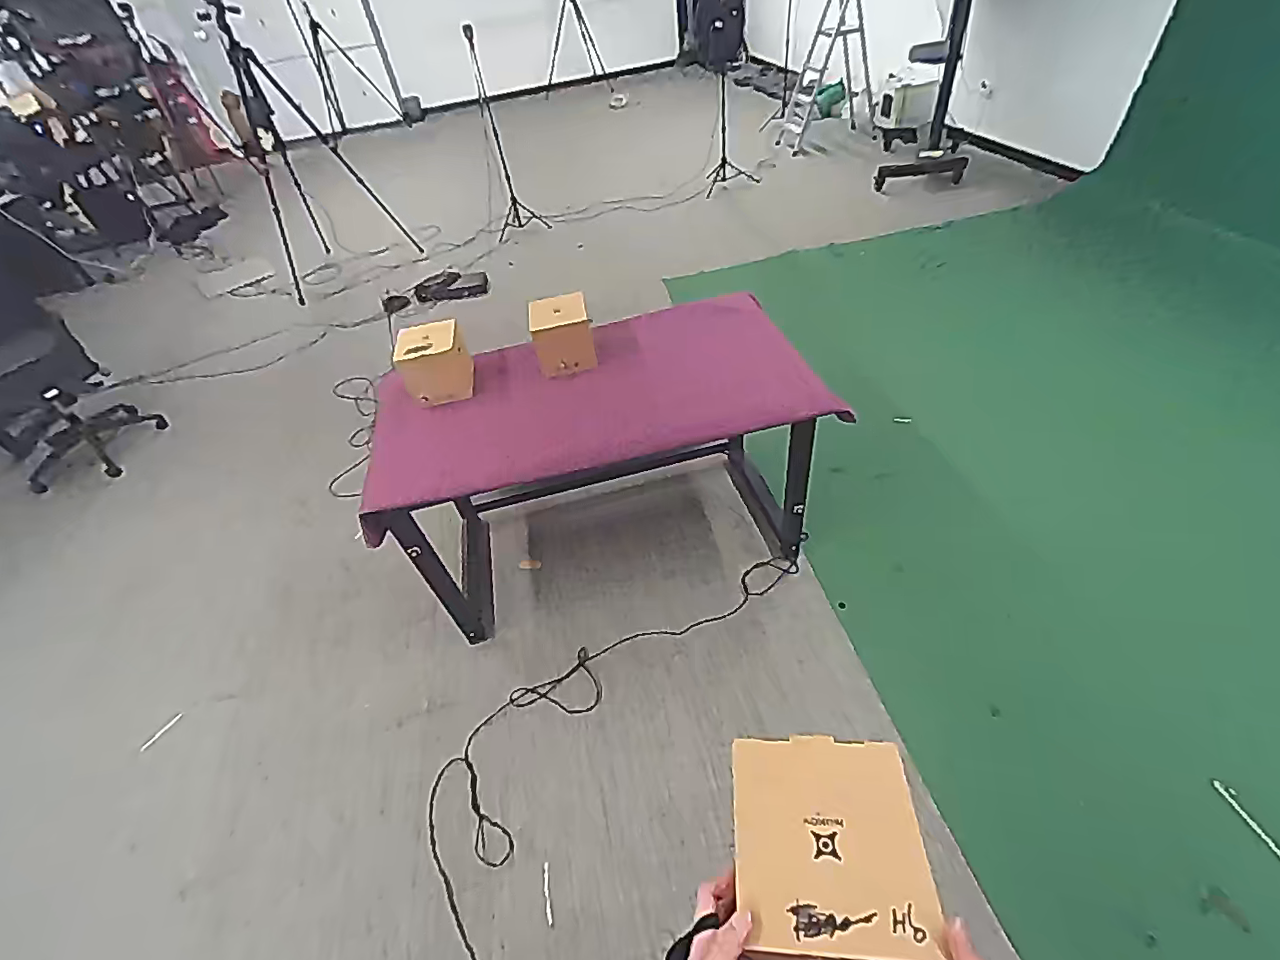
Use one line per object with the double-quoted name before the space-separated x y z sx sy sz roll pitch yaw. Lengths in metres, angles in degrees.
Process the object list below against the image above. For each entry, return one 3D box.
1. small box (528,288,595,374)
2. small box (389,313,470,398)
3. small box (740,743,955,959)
"small box" -0.231 -0.438 1.591 0.168 0.176 0.179 -11 47 -2
"small box" -0.597 -0.350 1.555 0.168 0.176 0.179 -12 47 -4
"small box" 0.185 0.392 0.540 0.168 0.176 0.179 -3 38 10
